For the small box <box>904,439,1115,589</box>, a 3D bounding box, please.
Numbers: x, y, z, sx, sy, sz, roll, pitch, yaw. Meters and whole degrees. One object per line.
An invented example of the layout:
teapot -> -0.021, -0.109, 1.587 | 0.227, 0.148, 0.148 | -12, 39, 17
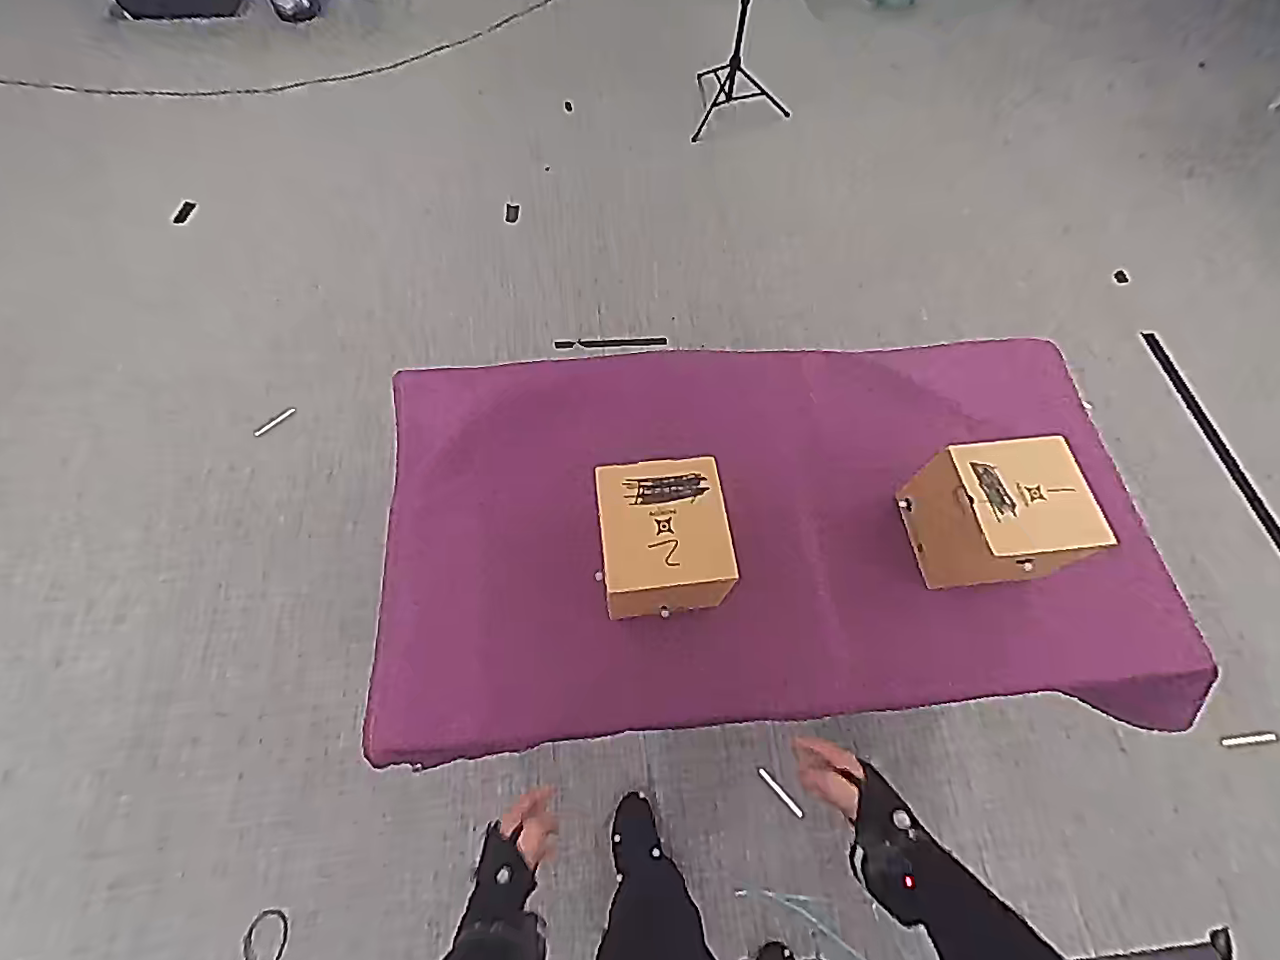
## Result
small box -> 0.520, 0.057, 0.799 | 0.179, 0.176, 0.168 | -5, 65, -4
